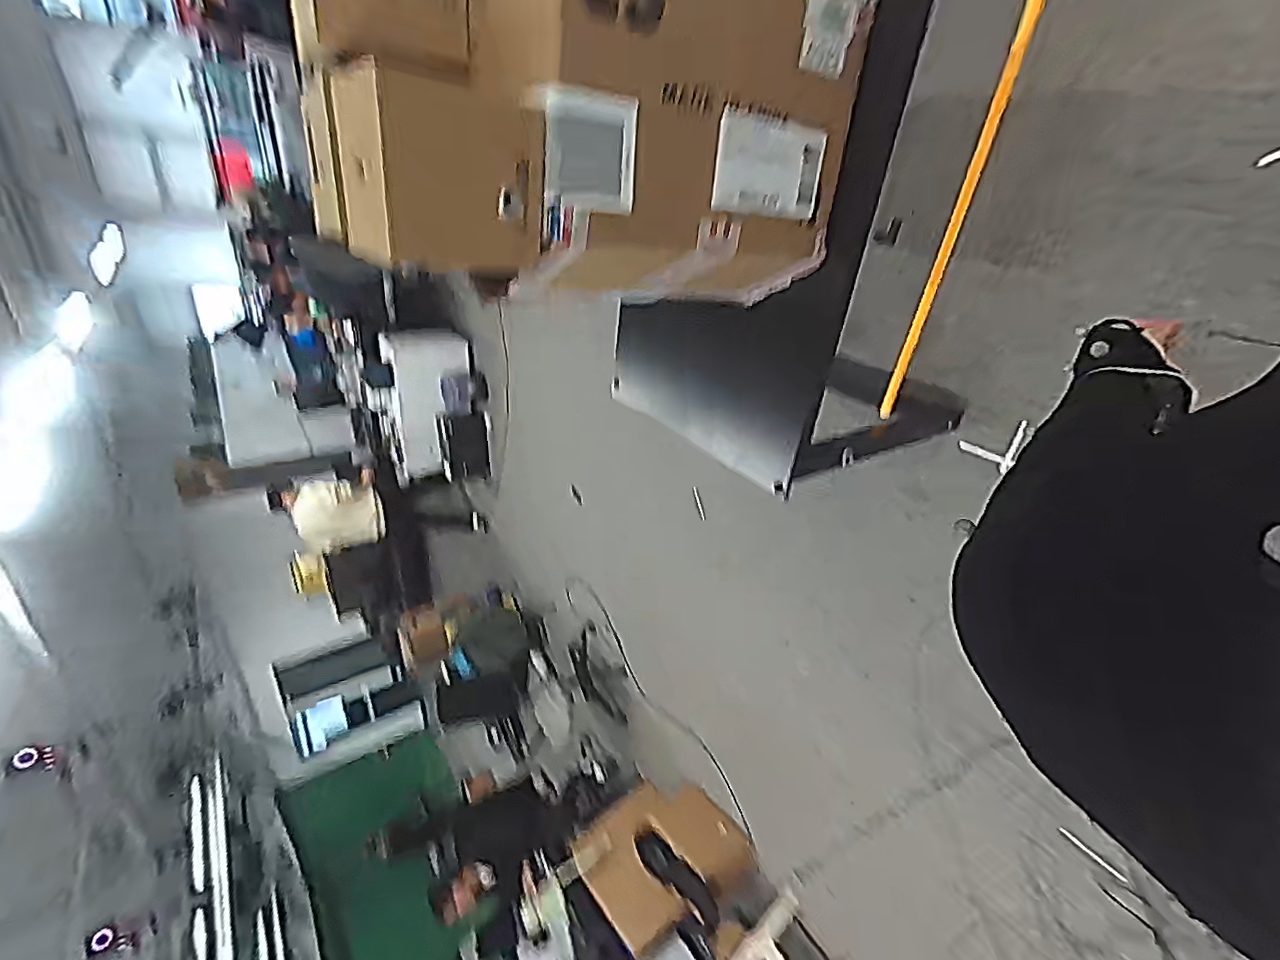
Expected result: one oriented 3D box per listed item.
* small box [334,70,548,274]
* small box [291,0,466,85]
[{"bbox_3d":[-0.219,-0.326,0.601,0.179,0.176,0.168,32,126,44],"label":"small box"},{"bbox_3d":[-0.321,-0.592,0.656,0.179,0.176,0.168,35,129,46],"label":"small box"}]
